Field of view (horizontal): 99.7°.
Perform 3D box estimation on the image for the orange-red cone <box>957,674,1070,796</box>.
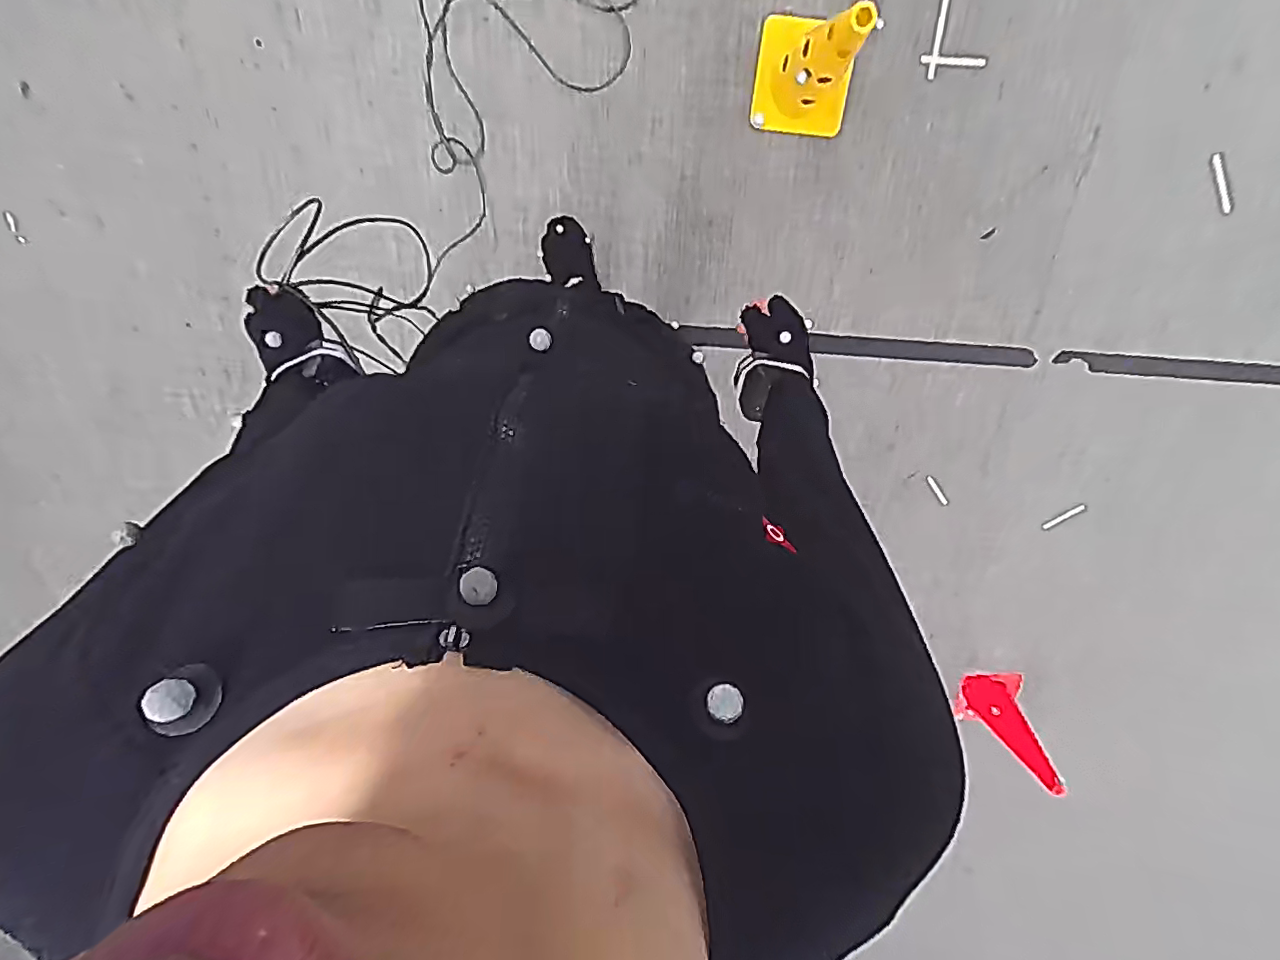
[{"bbox_3d":[1.199,0.807,1.689,0.199,0.360,0.198,-2,115,0],"label":"orange-red cone"}]
